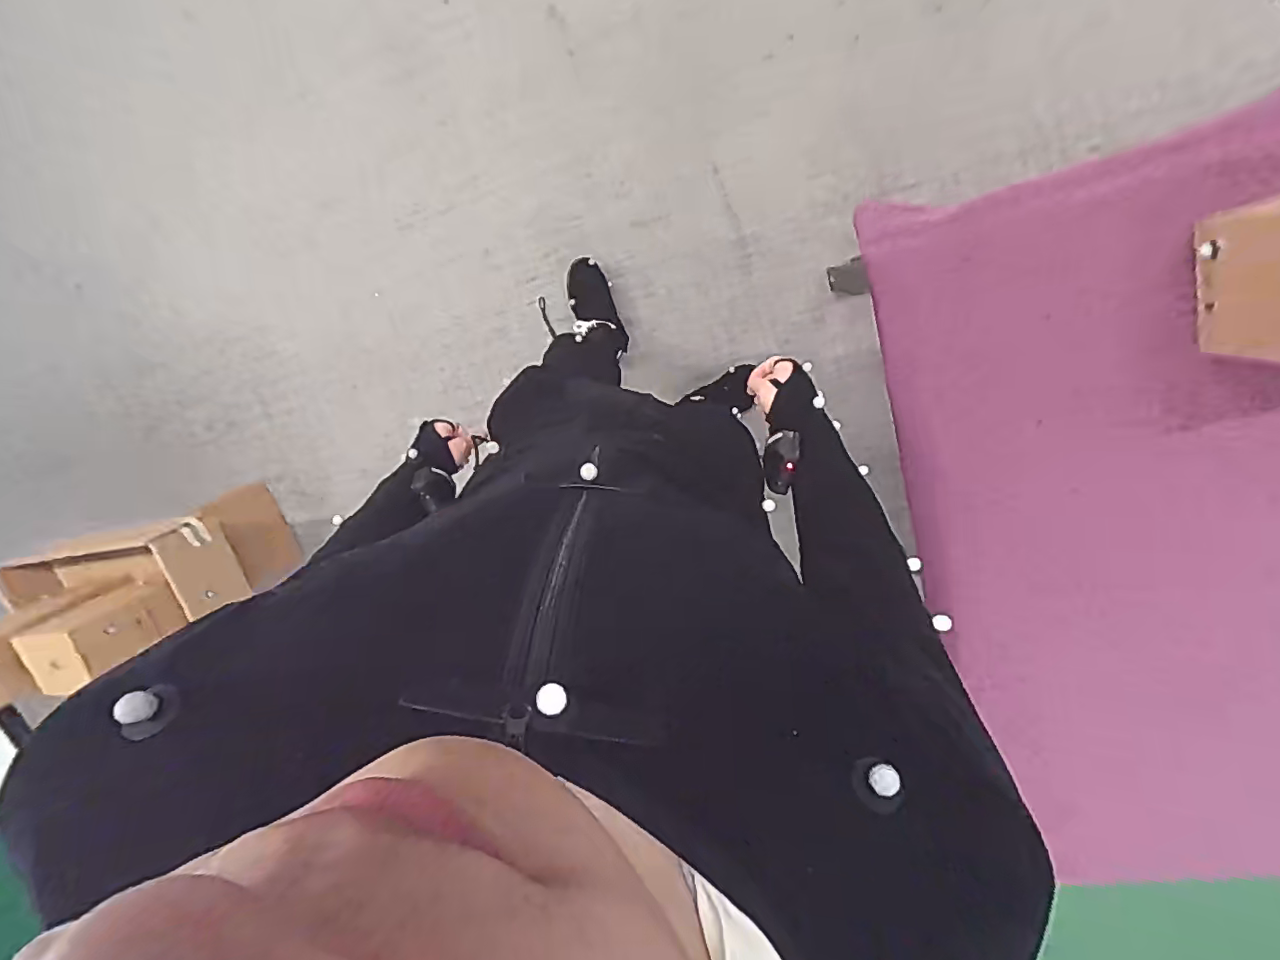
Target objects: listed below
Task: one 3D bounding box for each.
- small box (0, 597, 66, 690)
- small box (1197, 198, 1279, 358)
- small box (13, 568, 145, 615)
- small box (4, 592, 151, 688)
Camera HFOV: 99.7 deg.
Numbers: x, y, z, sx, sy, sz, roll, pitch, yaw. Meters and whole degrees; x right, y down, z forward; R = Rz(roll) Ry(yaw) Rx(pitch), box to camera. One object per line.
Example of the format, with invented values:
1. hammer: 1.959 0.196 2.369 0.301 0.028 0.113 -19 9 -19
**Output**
1. small box: -1.611 0.420 1.392 0.179 0.176 0.168 -10 106 11
2. small box: 0.775 -0.235 0.595 0.179 0.176 0.168 -14 107 14
3. small box: -1.591 0.368 1.544 0.179 0.176 0.168 -9 108 11
4. small box: -1.370 0.390 1.337 0.179 0.176 0.168 -8 107 13
